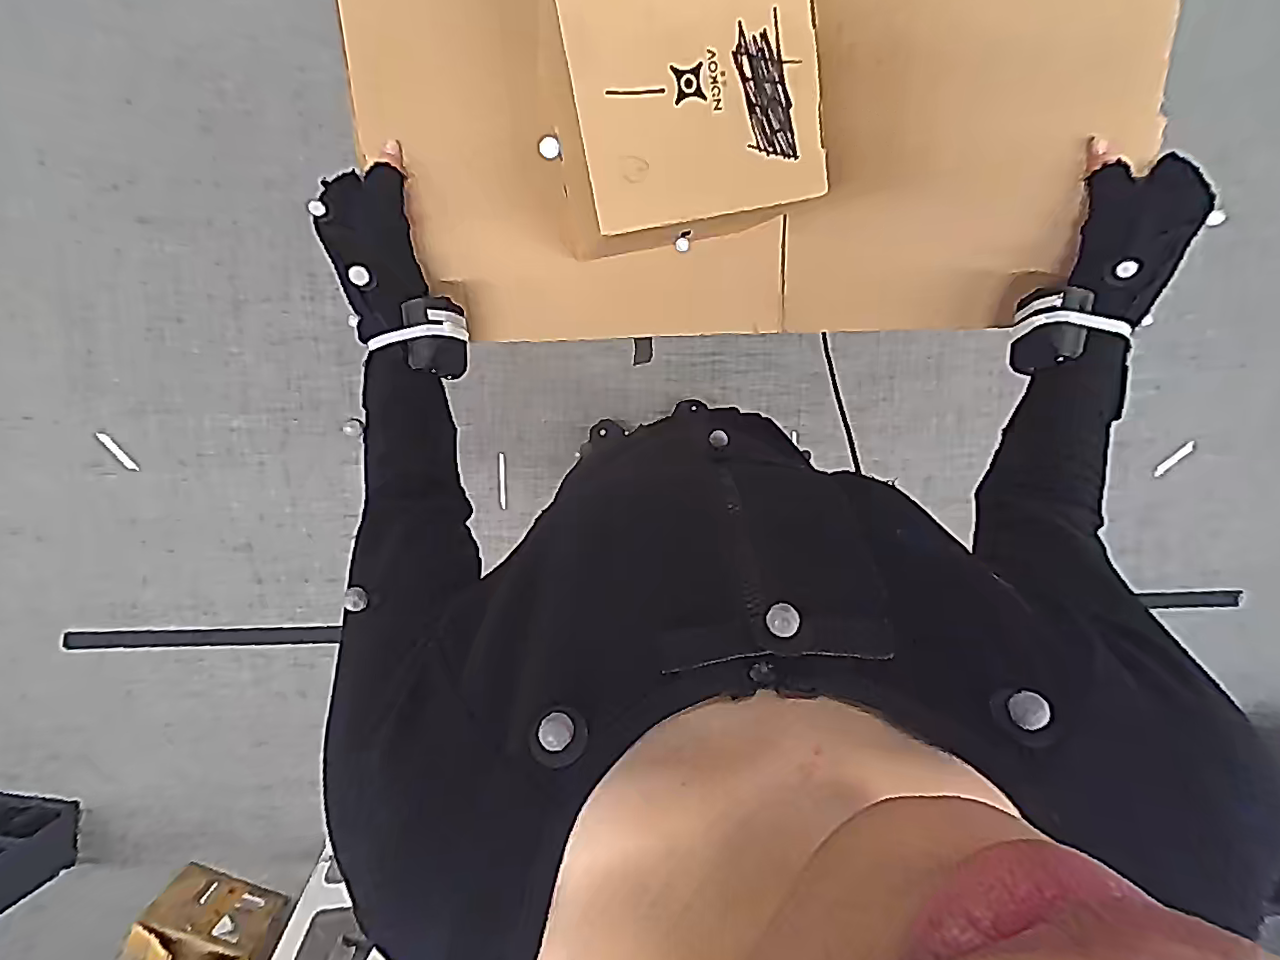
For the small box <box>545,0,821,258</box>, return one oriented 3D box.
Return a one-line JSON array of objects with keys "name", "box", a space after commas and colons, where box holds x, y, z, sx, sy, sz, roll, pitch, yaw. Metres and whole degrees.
[{"name": "small box", "box": [0.026, -0.291, 0.450, 0.179, 0.176, 0.168, -14, 108, -8]}]
